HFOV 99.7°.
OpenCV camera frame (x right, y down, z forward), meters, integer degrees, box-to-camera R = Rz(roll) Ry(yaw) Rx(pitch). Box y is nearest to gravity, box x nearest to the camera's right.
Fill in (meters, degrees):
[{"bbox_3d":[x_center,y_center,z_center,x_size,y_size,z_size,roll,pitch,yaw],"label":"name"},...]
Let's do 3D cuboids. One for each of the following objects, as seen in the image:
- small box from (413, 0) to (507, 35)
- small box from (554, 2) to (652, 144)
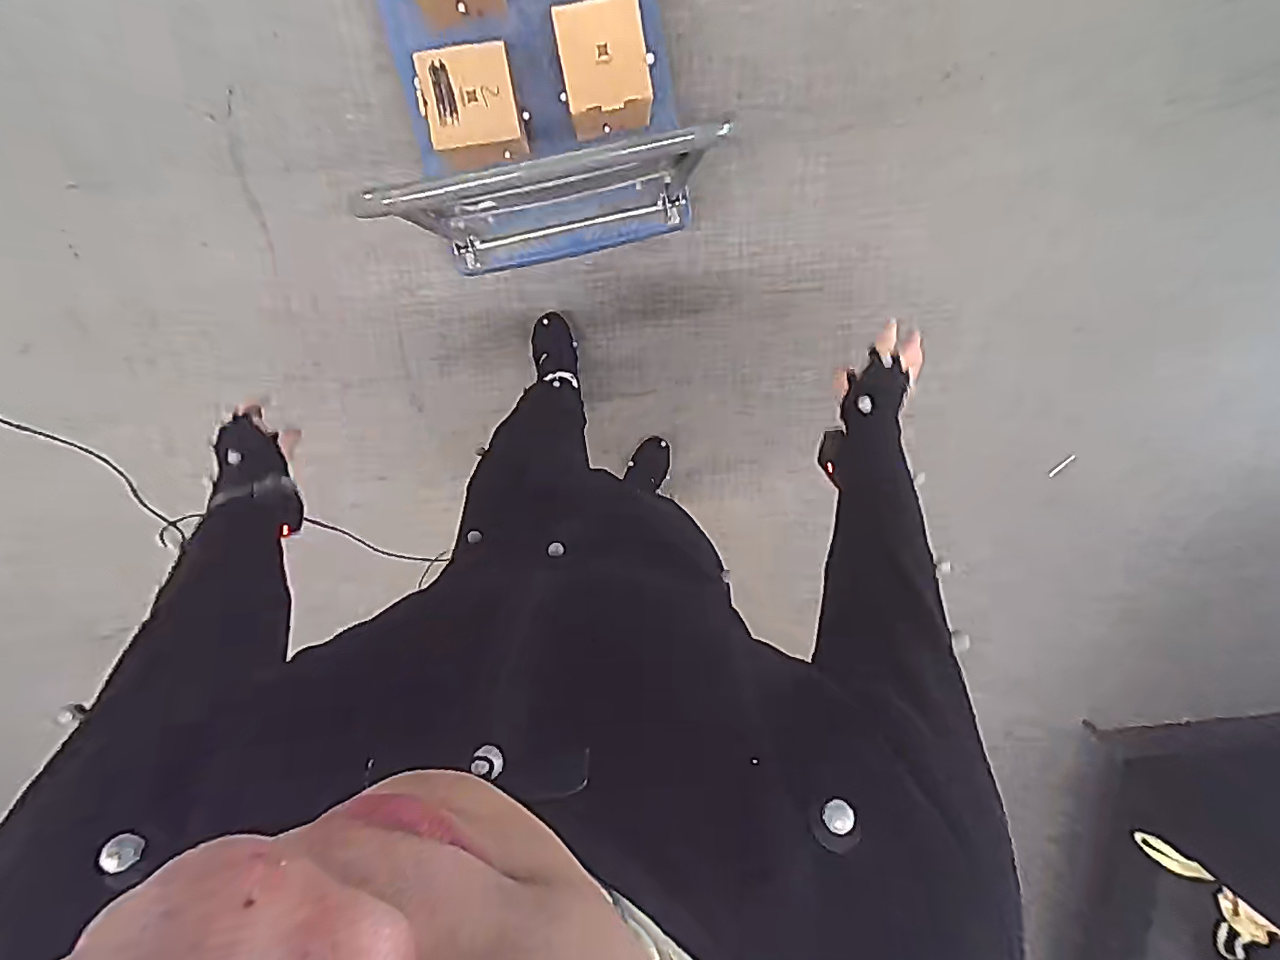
[{"bbox_3d":[-0.375,-1.020,1.061,0.168,0.176,0.179,-16,106,1],"label":"small box"},{"bbox_3d":[-0.076,-0.837,1.130,0.168,0.176,0.179,-11,107,0],"label":"small box"}]
